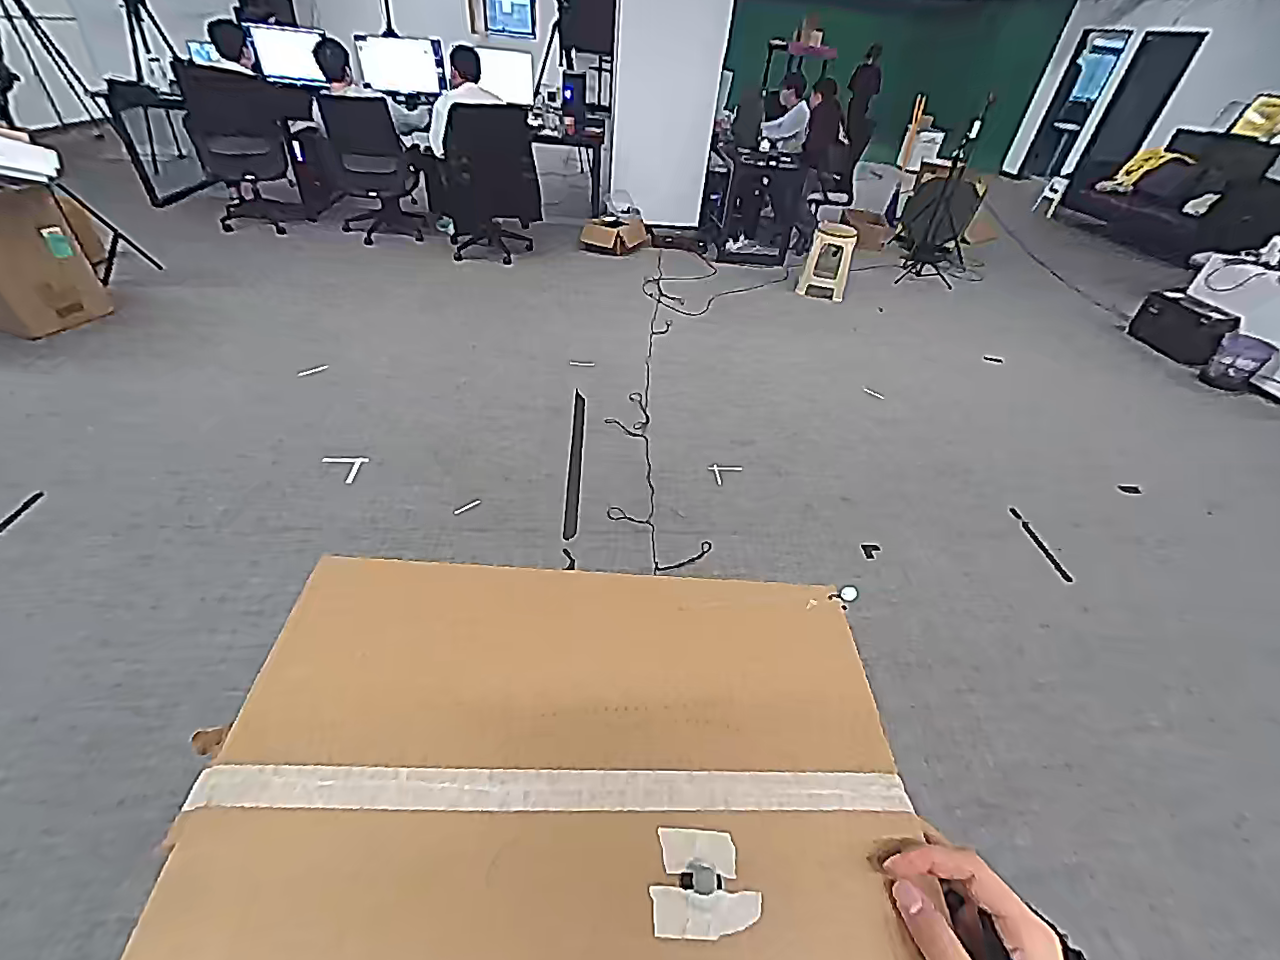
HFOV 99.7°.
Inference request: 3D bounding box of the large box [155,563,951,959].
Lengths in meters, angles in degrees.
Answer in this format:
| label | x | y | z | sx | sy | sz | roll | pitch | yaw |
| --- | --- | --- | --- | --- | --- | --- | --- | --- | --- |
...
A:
| label | x | y | z | sx | sy | sz | roll | pitch | yaw |
| --- | --- | --- | --- | --- | --- | --- | --- | --- | --- |
| large box | -0.053 | 0.291 | 0.429 | 0.408 | 0.320 | 0.320 | 5 | 45 | -7 |
